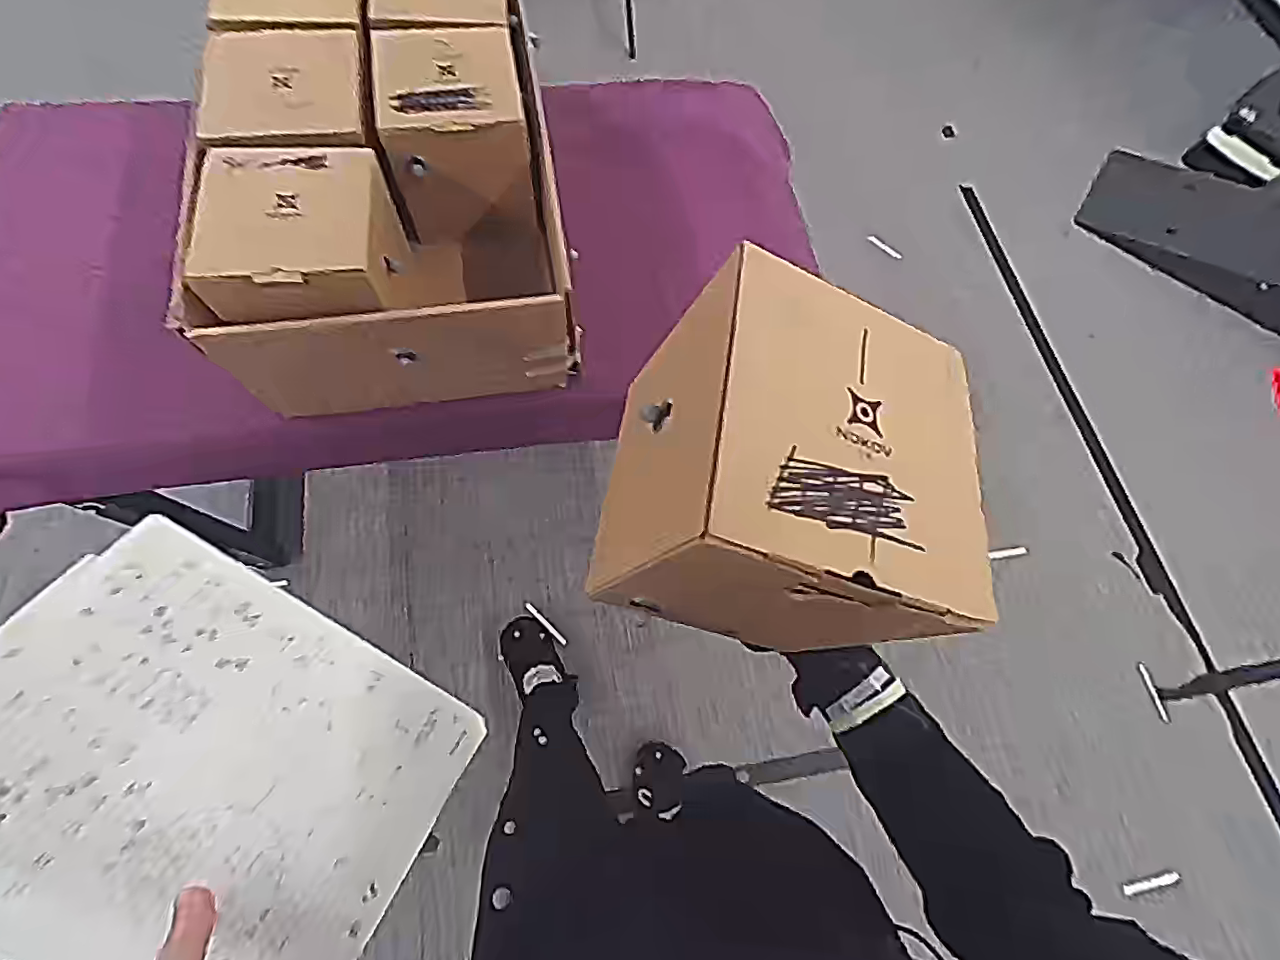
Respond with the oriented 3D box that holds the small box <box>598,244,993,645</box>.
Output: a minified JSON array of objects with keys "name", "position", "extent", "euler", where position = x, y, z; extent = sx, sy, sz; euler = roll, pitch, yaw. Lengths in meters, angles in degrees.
[{"name":"small box","position":[0.083,-0.001,0.348],"extent":[0.168,0.176,0.179],"euler":[19,63,-16]}]
